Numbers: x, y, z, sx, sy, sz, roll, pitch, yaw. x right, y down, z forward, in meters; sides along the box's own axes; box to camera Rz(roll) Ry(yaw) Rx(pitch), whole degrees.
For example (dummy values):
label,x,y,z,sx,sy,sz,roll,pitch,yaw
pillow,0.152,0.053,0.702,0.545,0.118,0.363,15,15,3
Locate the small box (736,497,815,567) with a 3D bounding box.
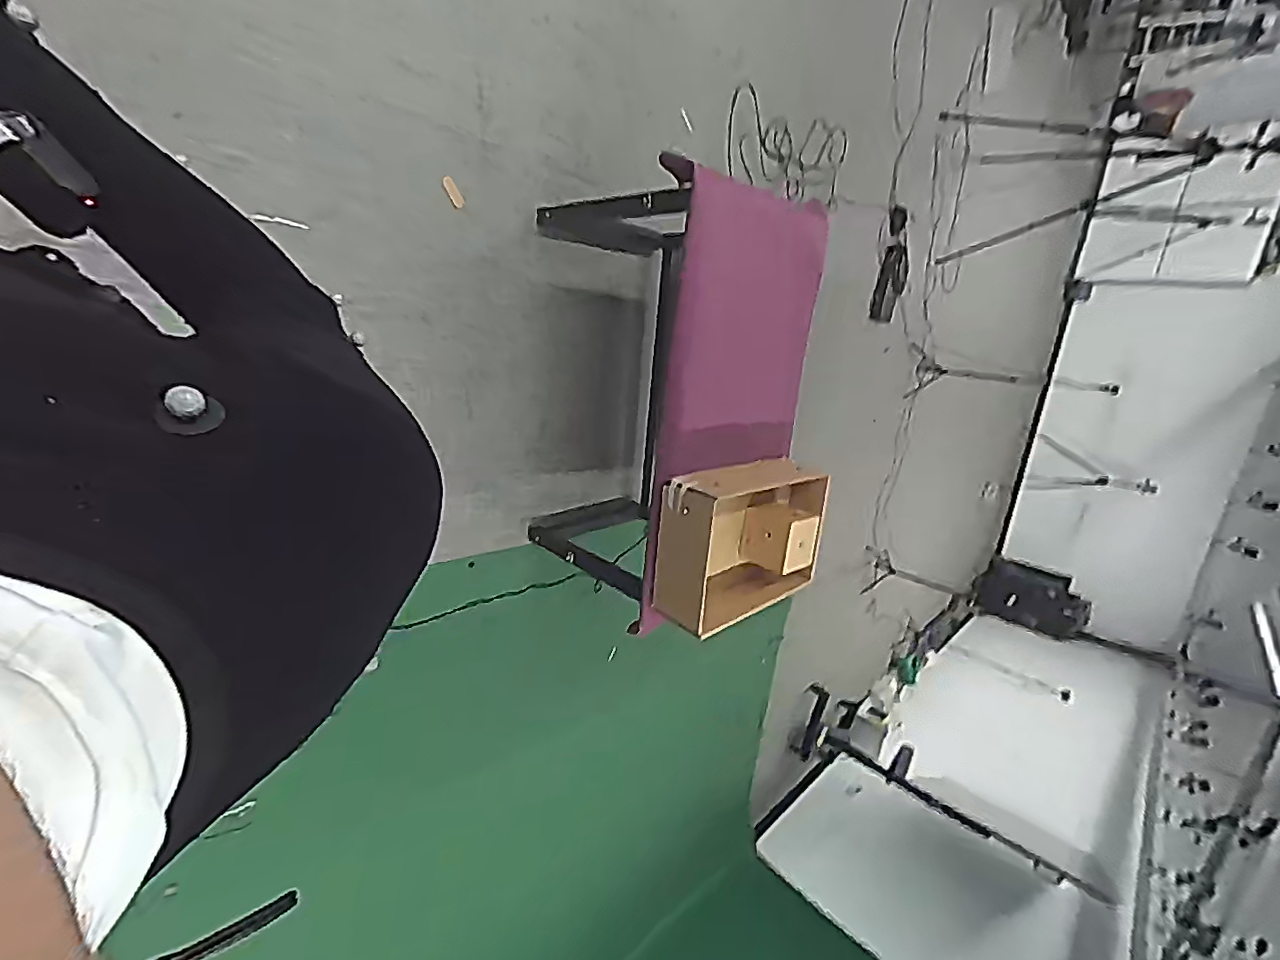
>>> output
label,x,y,z,sx,sy,sz,roll,pitch,yaw
small box,0.427,0.159,1.720,0.179,0.176,0.168,-7,108,-44
